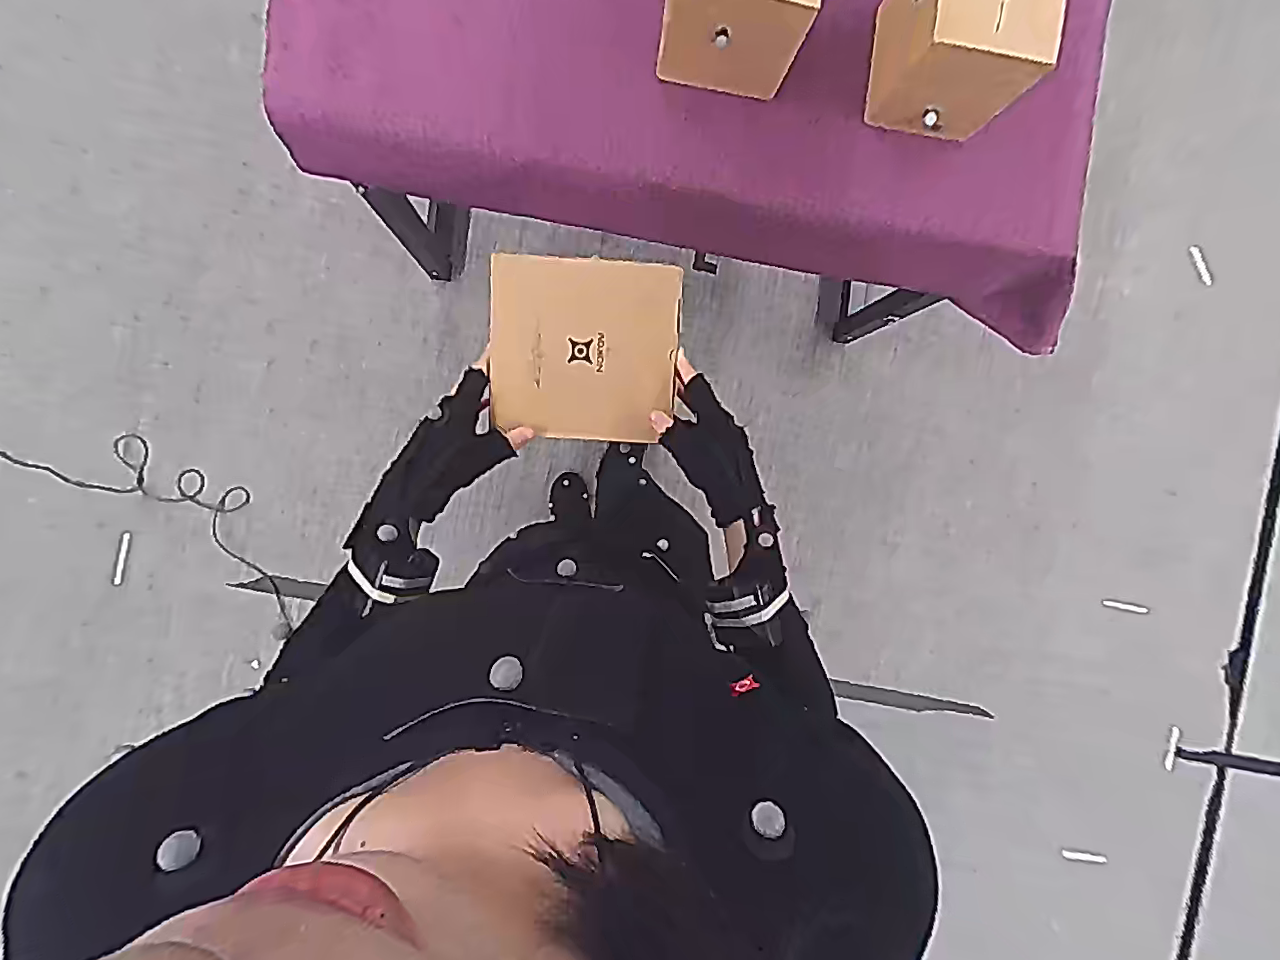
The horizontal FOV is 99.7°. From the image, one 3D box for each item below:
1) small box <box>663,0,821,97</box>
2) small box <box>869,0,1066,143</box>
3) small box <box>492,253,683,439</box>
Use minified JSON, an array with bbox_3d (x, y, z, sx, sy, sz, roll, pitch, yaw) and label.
[{"bbox_3d":[0.131,-0.646,0.708,0.179,0.176,0.168,7,90,-5],"label":"small box"},{"bbox_3d":[0.437,-0.607,0.739,0.168,0.176,0.179,7,91,-5],"label":"small box"},{"bbox_3d":[-0.051,-0.130,0.578,0.179,0.176,0.168,1,94,-1],"label":"small box"}]
